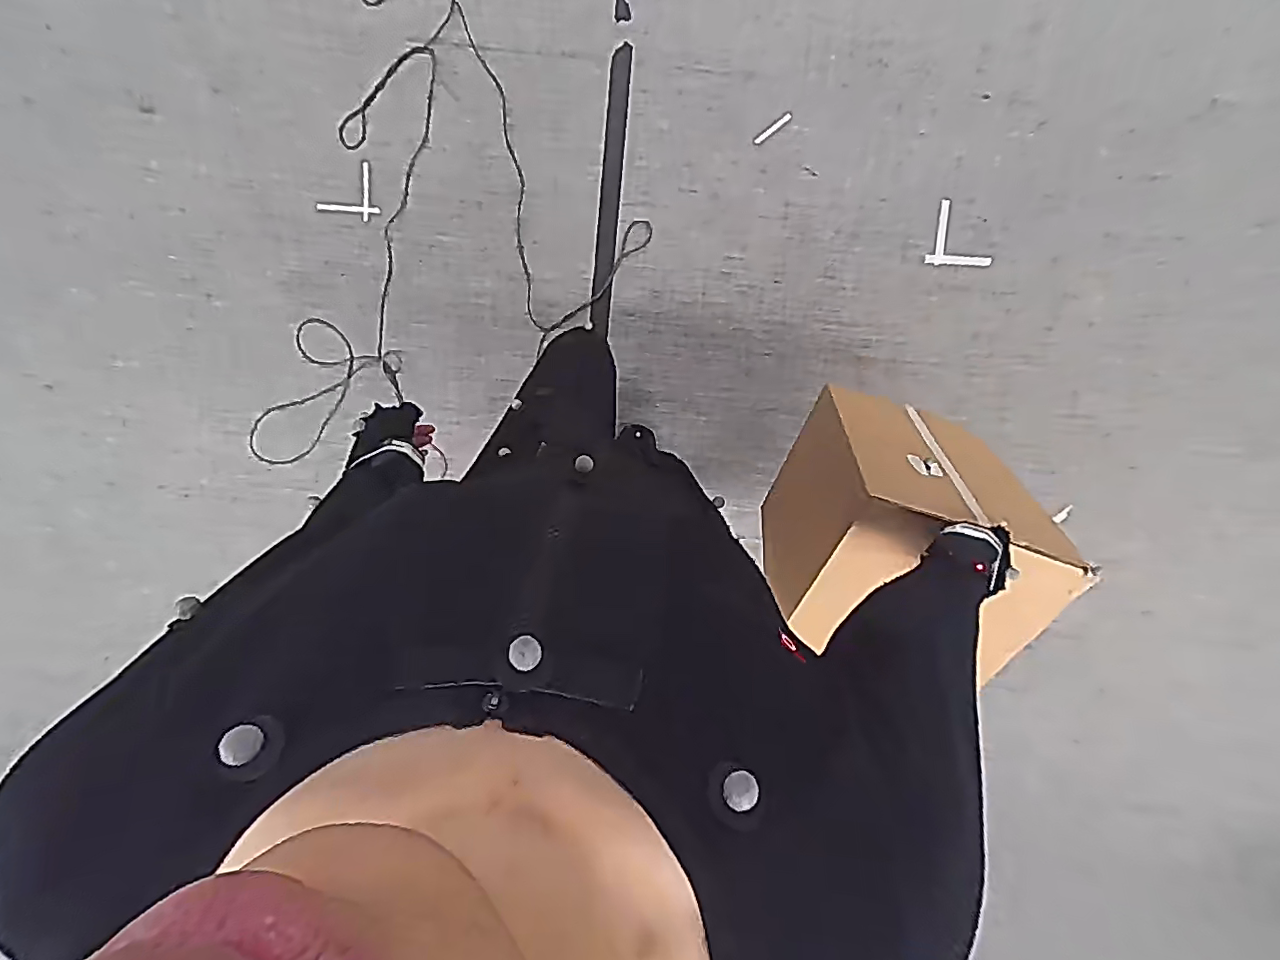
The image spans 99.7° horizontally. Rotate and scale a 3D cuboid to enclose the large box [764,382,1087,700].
[{"bbox_3d":[0.427,0.088,0.944,0.320,0.408,0.320,19,124,-1],"label":"large box"}]
